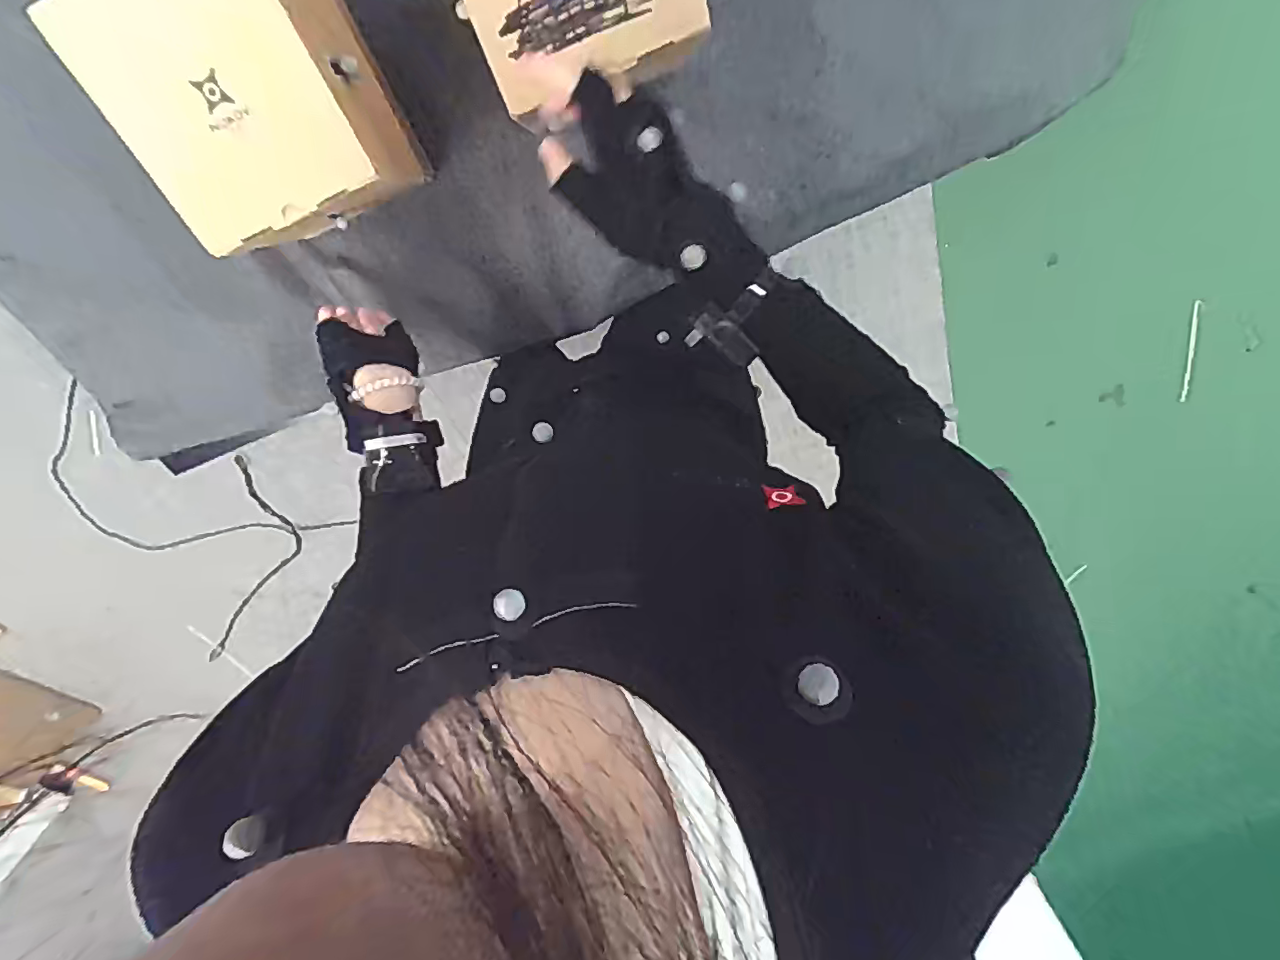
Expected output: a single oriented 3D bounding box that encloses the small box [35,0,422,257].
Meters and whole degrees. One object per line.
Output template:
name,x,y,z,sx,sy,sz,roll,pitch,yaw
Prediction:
small box,-0.324,-0.322,0.477,0.168,0.176,0.179,-21,121,5
